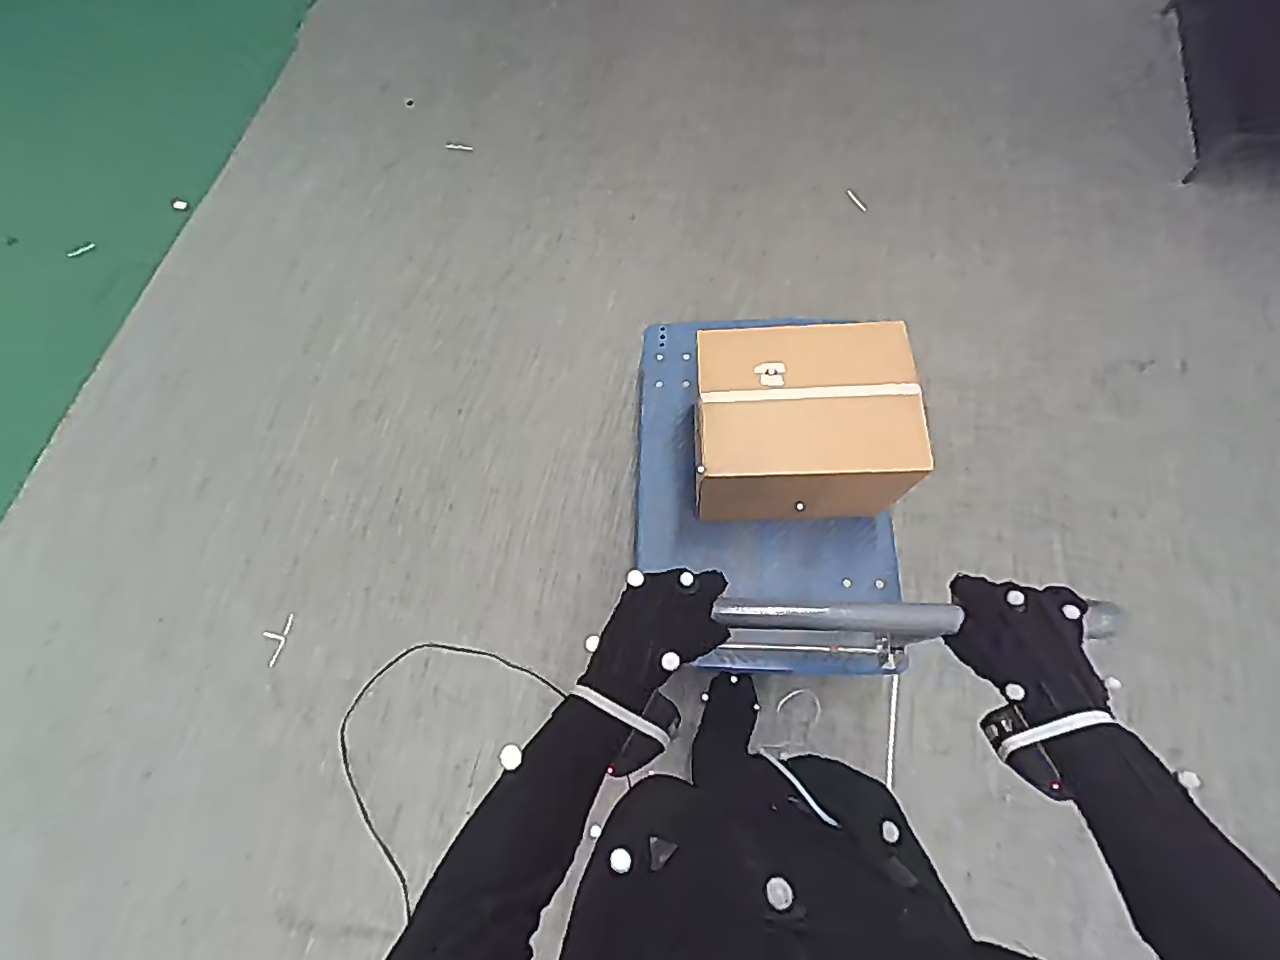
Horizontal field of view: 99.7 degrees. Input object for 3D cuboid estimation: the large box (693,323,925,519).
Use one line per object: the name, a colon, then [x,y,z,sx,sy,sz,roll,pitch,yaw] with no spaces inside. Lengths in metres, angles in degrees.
large box: [0.325,-0.106,1.168,0.408,0.320,0.320,-3,71,5]
